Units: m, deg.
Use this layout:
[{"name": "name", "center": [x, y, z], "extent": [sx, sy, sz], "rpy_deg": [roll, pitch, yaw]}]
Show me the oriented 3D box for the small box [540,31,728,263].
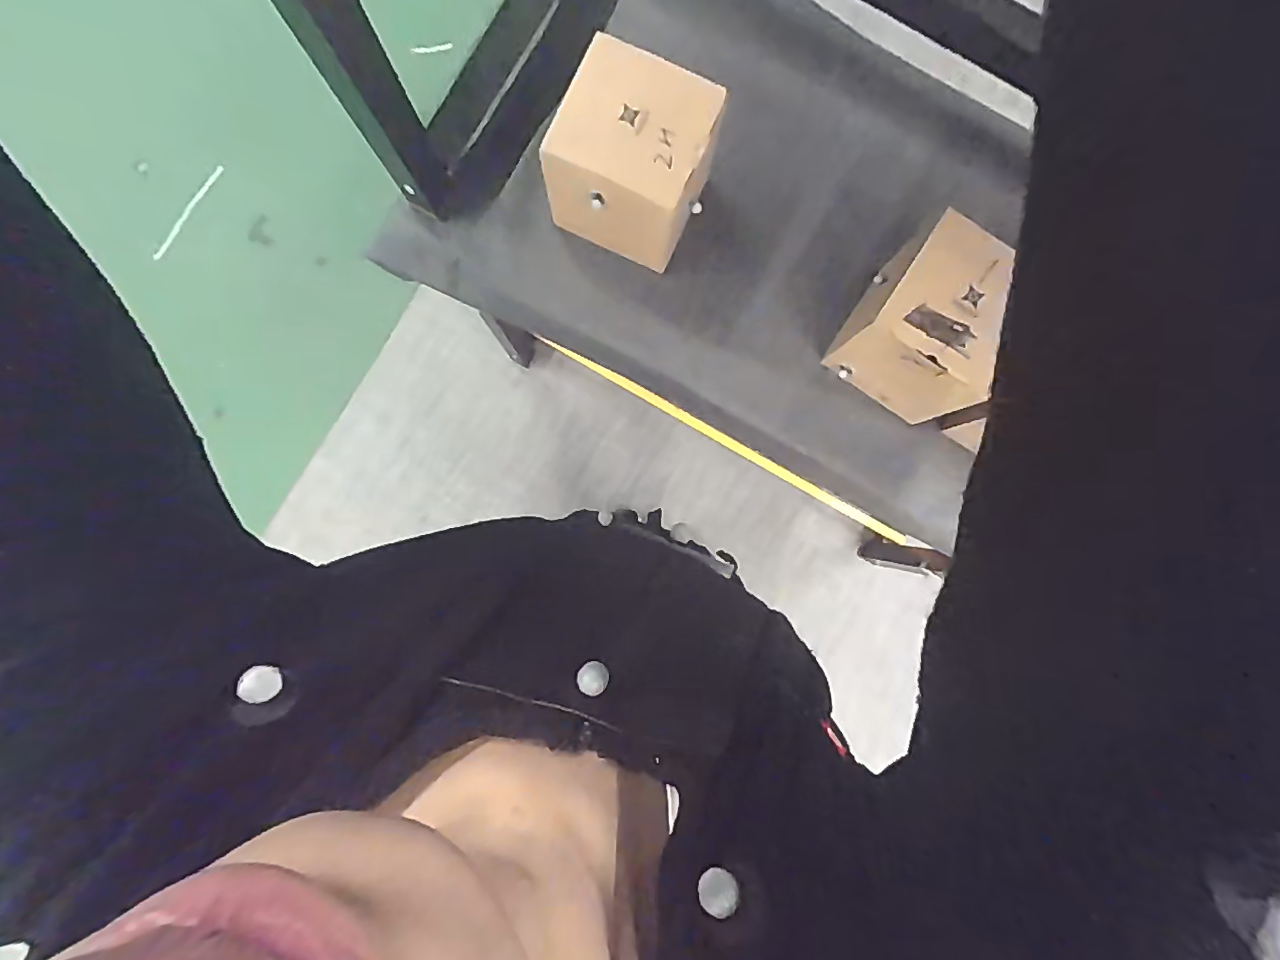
[{"name": "small box", "center": [-0.010, -0.419, 0.715], "extent": [0.179, 0.176, 0.168], "rpy_deg": [25, 87, -1]}]
